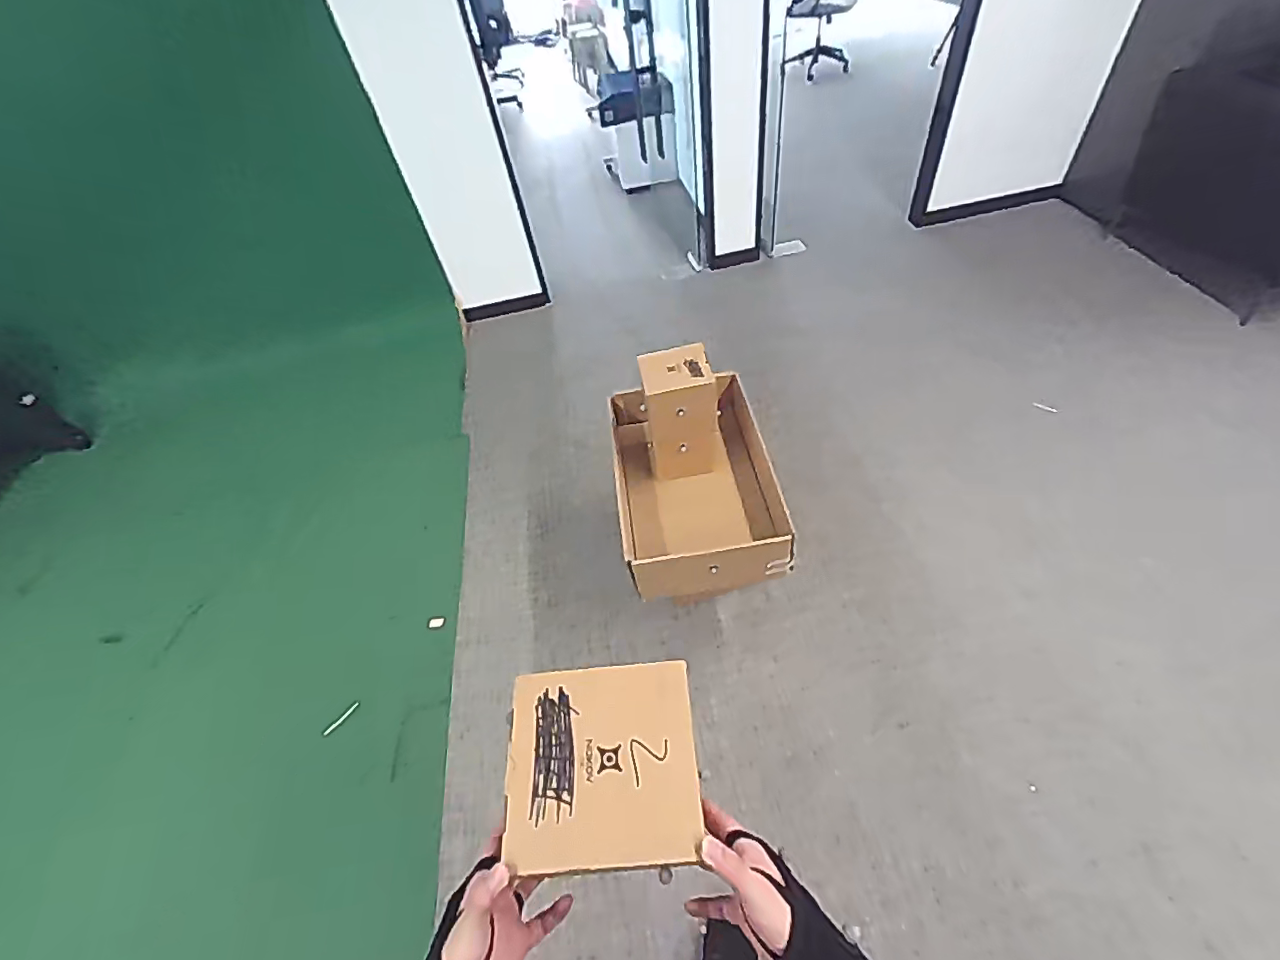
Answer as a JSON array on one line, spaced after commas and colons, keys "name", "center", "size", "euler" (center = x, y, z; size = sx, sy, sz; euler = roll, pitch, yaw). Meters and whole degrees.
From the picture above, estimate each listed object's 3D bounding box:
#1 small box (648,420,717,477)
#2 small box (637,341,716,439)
[{"name": "small box", "center": [0.117, -0.129, 1.535], "size": [0.179, 0.176, 0.168], "euler": [-10, 50, 1]}, {"name": "small box", "center": [0.096, -0.231, 1.407], "size": [0.179, 0.176, 0.168], "euler": [-11, 50, 1]}]
